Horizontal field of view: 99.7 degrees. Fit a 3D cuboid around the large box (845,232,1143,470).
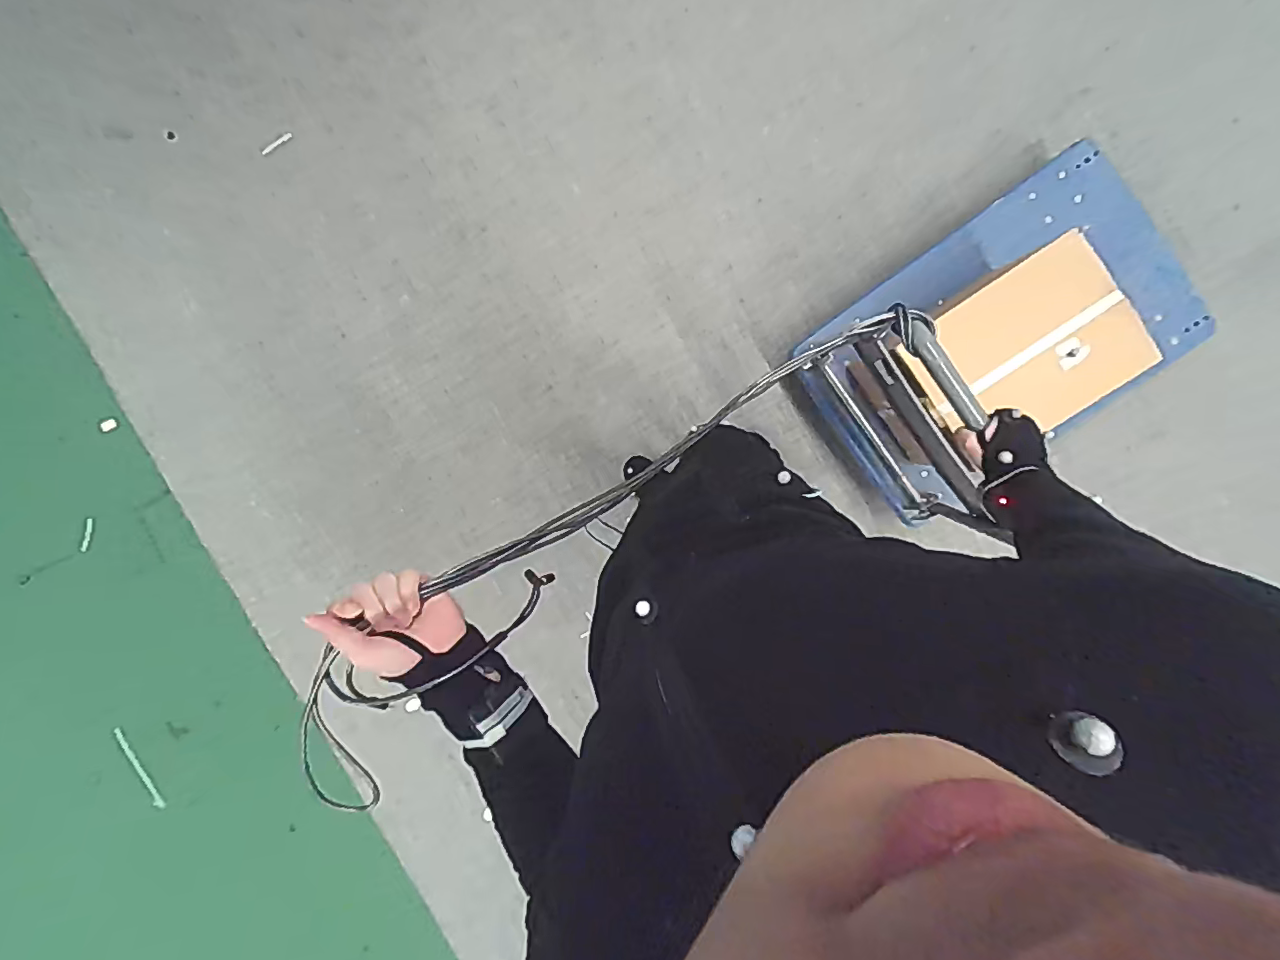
[{"bbox_3d":[0.758,-0.261,1.229,0.408,0.320,0.320,-34,92,5],"label":"large box"}]
